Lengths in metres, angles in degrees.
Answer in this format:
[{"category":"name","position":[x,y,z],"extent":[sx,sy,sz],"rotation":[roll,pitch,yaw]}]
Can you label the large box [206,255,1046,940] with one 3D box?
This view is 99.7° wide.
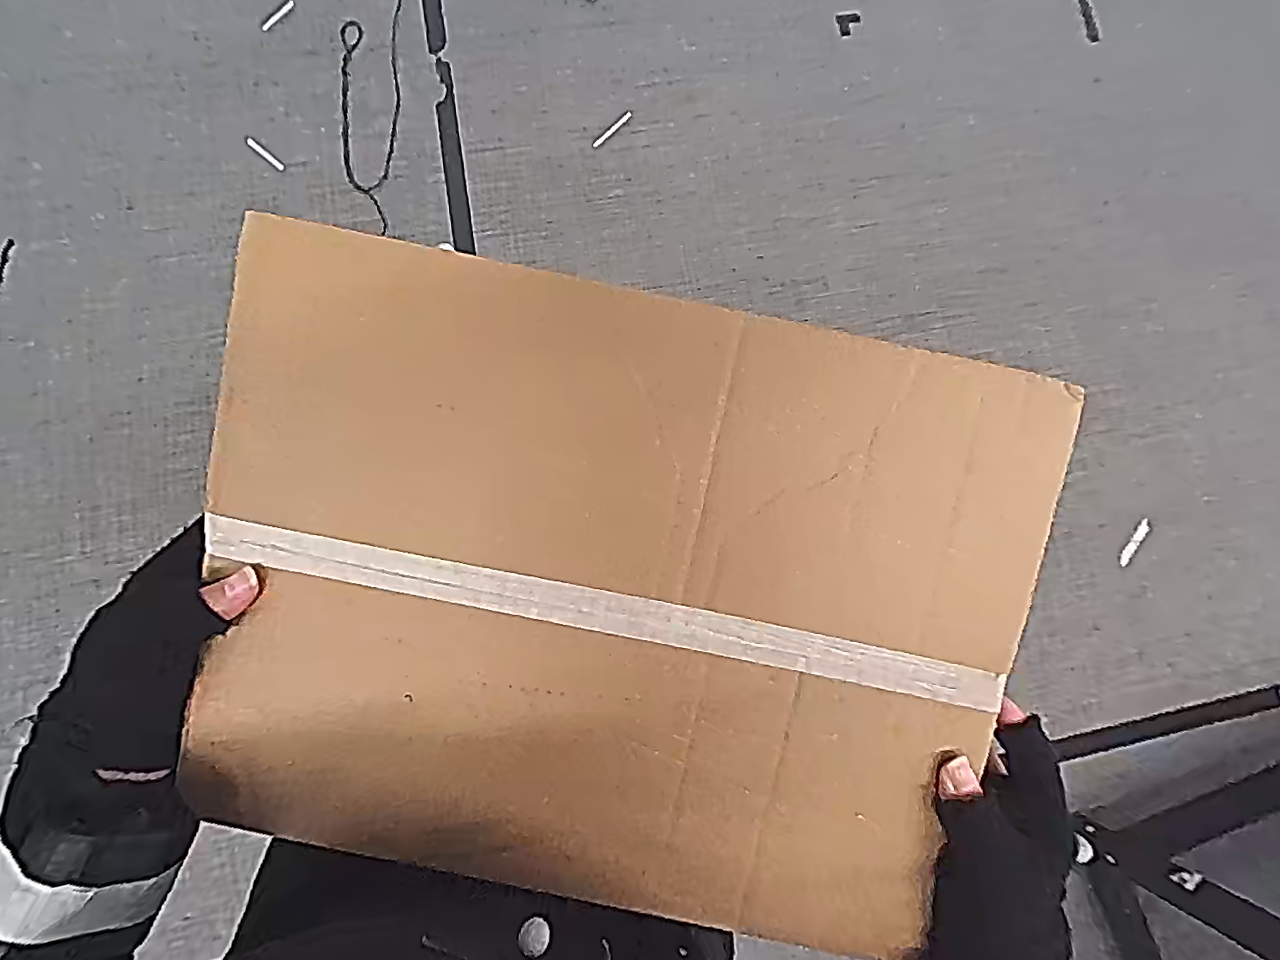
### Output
[{"category":"large box","position":[-0.017,0.056,0.431],"extent":[0.408,0.320,0.320],"rotation":[11,96,0]}]
